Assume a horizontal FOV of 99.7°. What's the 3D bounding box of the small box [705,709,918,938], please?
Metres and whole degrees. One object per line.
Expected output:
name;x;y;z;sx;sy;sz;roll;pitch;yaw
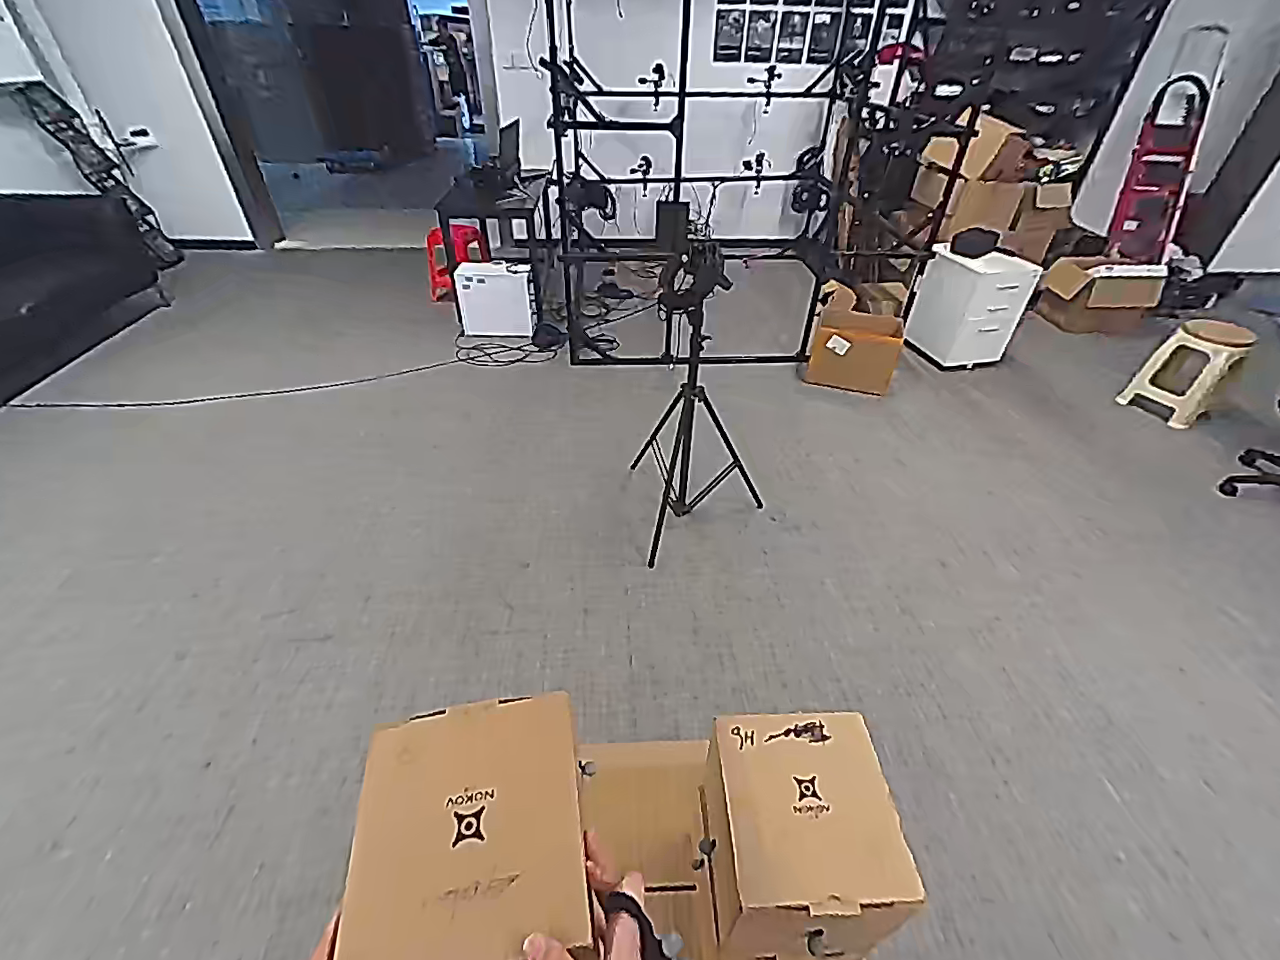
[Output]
small box;0.165;0.374;0.588;0.168;0.176;0.179;-1;40;-1

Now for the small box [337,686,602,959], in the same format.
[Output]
small box;-0.126;0.307;0.459;0.168;0.176;0.179;-8;45;-8

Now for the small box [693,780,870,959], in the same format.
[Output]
small box;0.161;0.504;0.688;0.168;0.176;0.179;-2;39;-2
